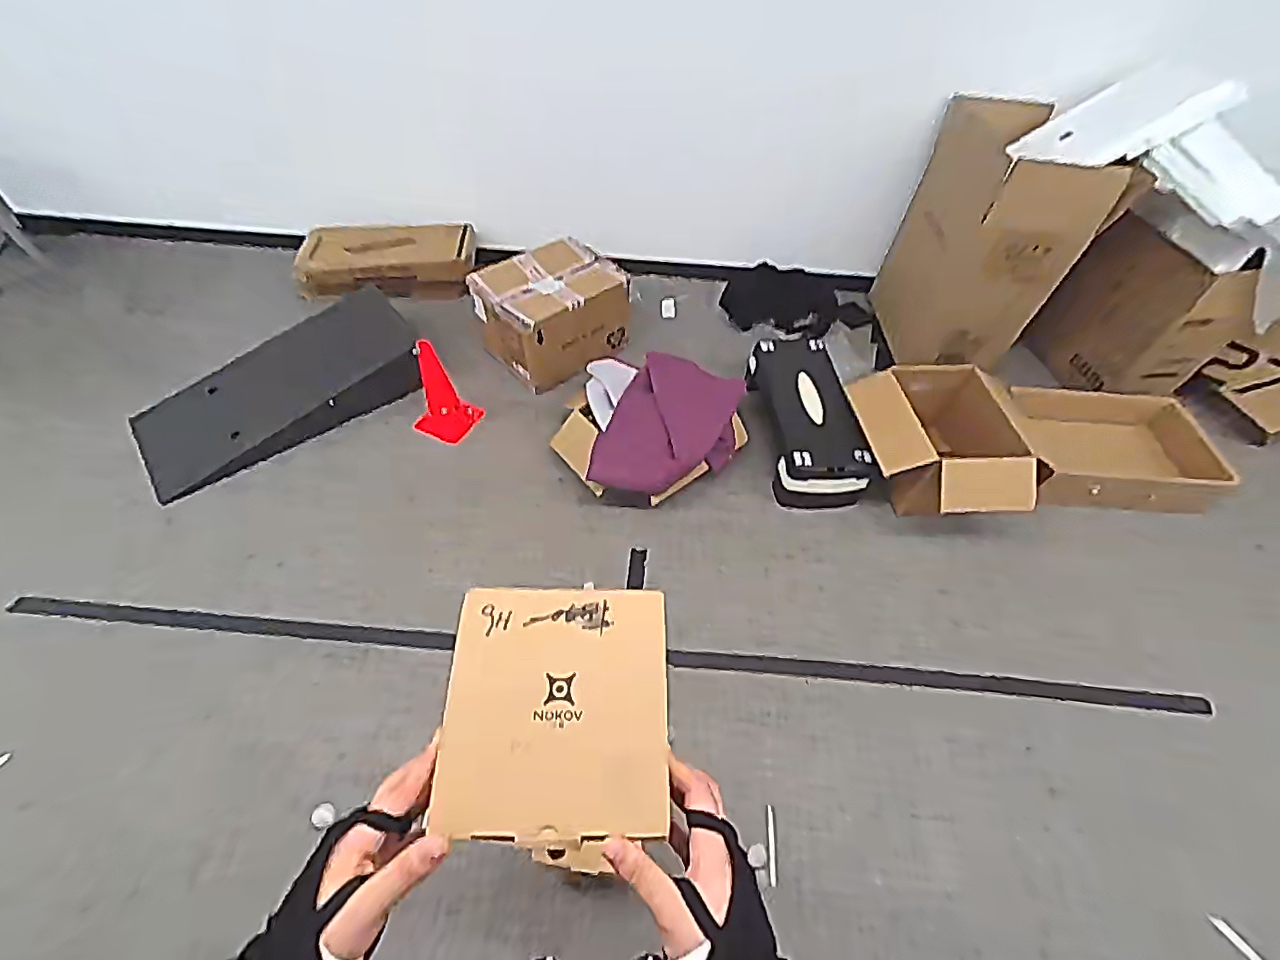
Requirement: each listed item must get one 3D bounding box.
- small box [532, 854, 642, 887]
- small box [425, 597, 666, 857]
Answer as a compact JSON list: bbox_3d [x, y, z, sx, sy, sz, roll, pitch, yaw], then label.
[{"bbox_3d":[-0.073,0.568,0.916,0.168,0.176,0.179,6,52,4],"label":"small box"},{"bbox_3d":[-0.064,0.211,0.468,0.168,0.176,0.179,0,60,-2],"label":"small box"}]
